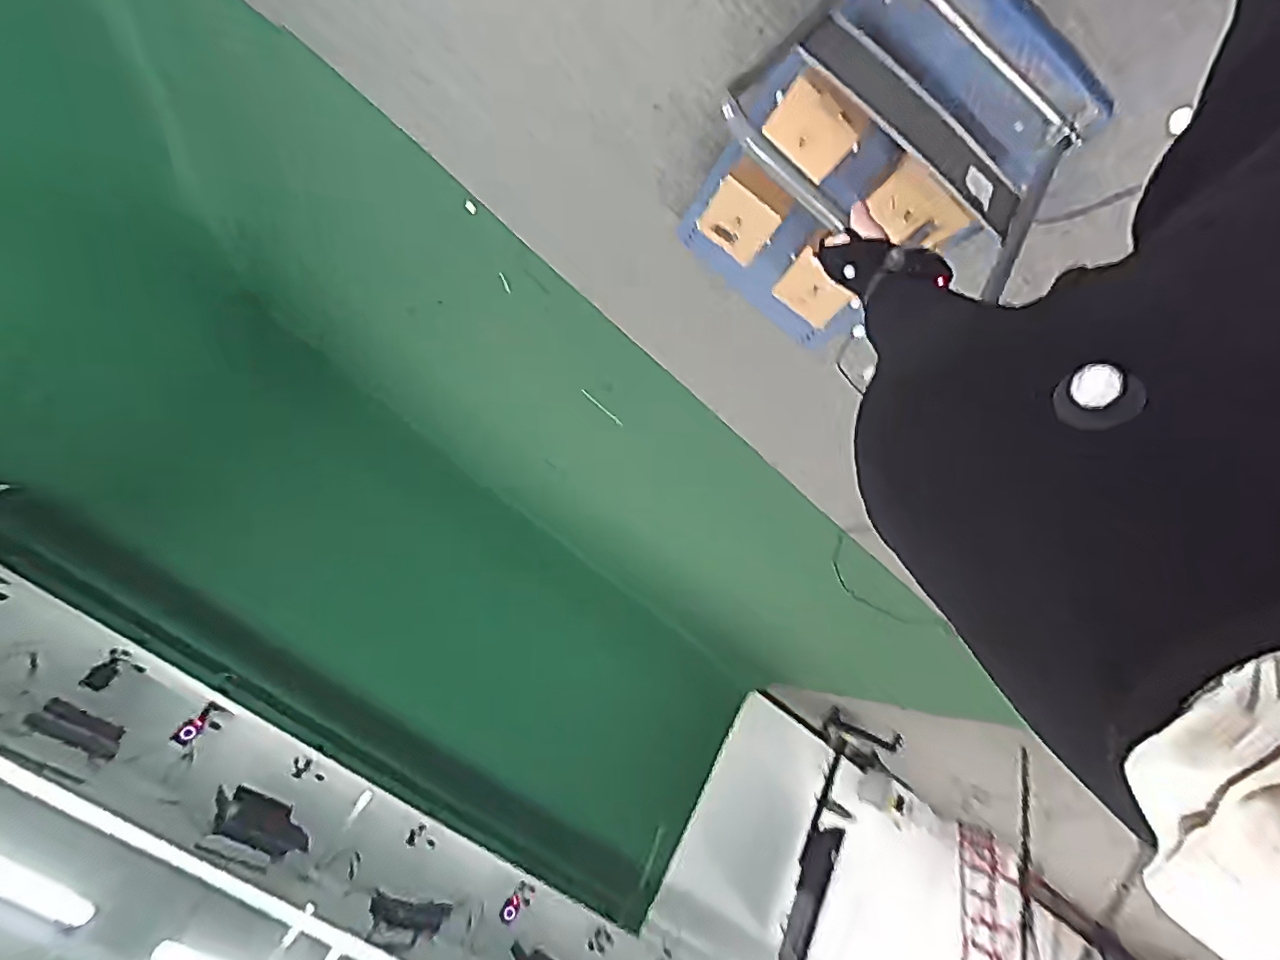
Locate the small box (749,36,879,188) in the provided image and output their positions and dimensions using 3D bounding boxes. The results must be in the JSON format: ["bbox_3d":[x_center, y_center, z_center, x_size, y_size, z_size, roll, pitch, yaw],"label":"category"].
[{"bbox_3d":[0.370,-0.776,1.147,0.168,0.176,0.179,38,153,-10],"label":"small box"}]

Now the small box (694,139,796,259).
[{"bbox_3d":[0.270,-0.711,1.365,0.168,0.176,0.179,36,153,-7],"label":"small box"}]

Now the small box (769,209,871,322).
[{"bbox_3d":[0.472,-0.558,1.402,0.168,0.176,0.179,37,153,-5],"label":"small box"}]
